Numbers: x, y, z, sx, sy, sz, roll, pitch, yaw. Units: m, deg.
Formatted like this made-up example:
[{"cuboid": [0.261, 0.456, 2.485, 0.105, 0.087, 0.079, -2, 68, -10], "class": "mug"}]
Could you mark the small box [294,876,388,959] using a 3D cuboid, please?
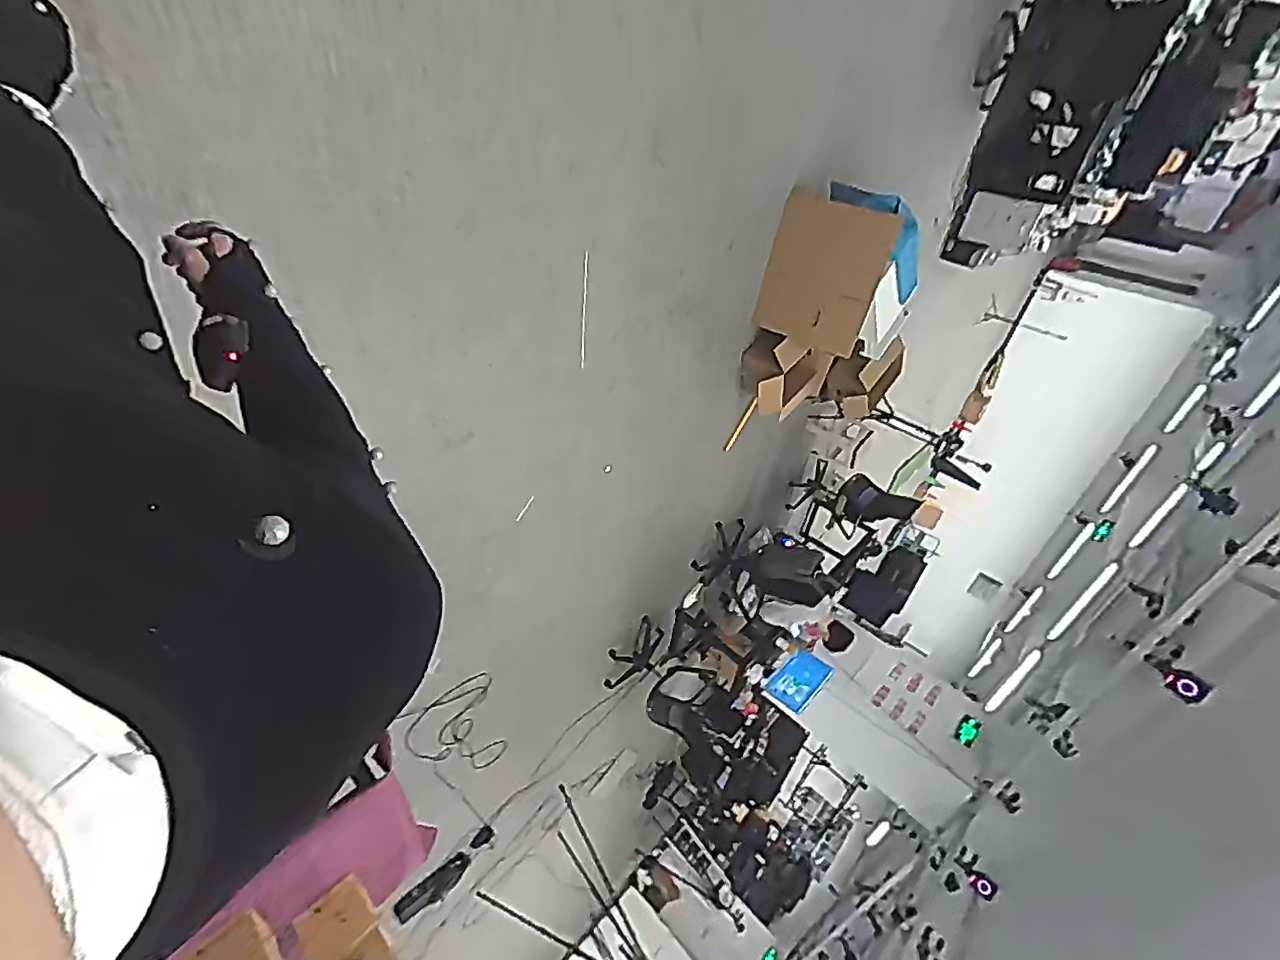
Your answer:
[{"cuboid": [-0.855, 1.286, 1.548, 0.168, 0.176, 0.179, -30, 141, -37], "class": "small box"}]

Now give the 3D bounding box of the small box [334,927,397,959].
[{"cuboid": [-0.742, 1.369, 1.462, 0.168, 0.176, 0.179, -27, 138, -40], "class": "small box"}]

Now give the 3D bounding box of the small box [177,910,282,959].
[{"cuboid": [-0.970, 1.175, 1.281, 0.168, 0.176, 0.179, -28, 141, -38], "class": "small box"}]
